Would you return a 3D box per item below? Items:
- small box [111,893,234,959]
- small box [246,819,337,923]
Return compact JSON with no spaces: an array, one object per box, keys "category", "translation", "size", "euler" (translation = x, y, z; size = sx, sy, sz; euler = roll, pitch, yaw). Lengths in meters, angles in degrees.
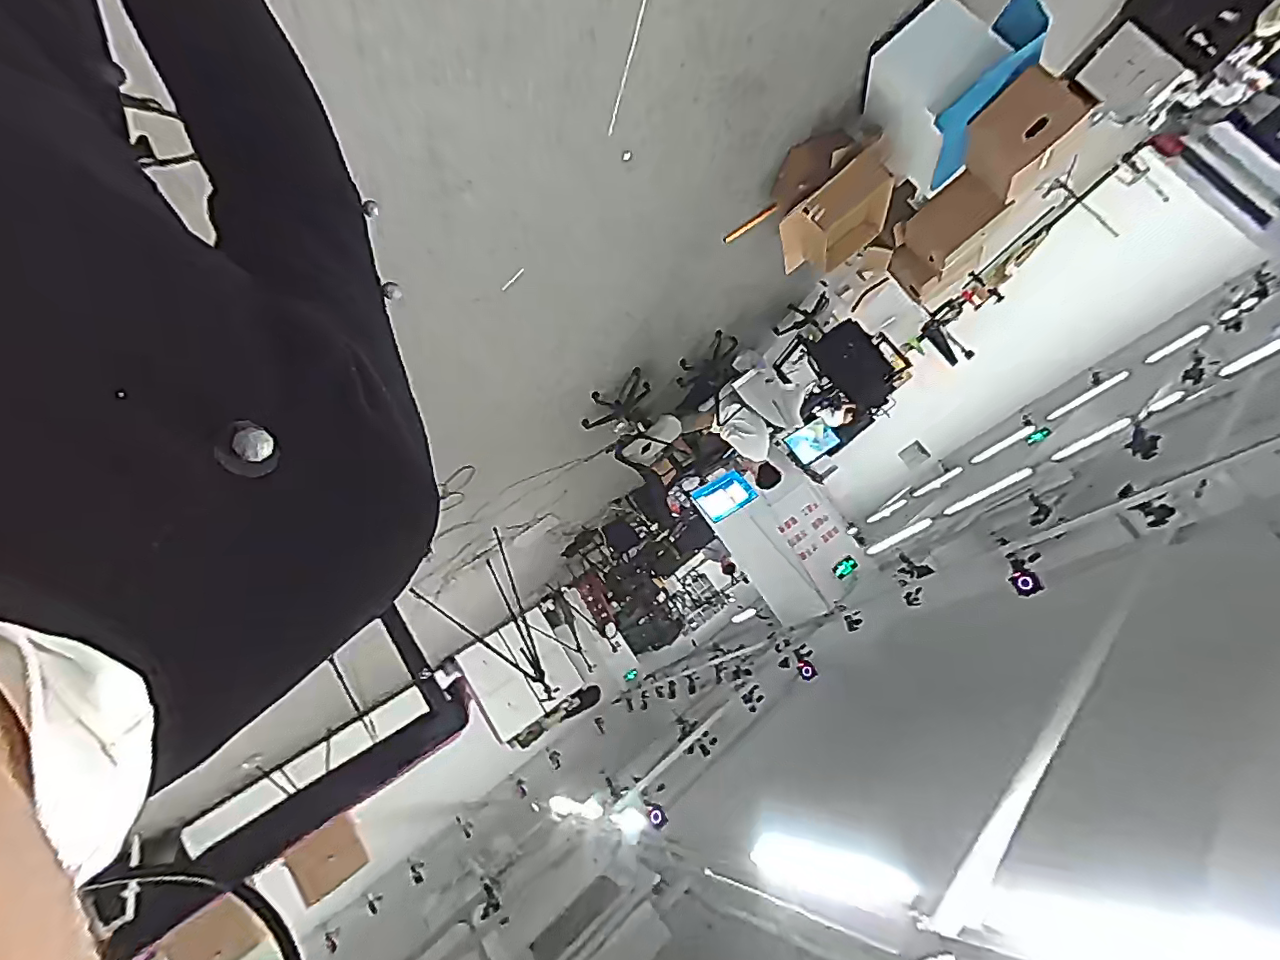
[{"category":"small box","translation":[-1.209,1.218,1.406],"size":[0.179,0.176,0.168],"euler":[-27,167,-33]},{"category":"small box","translation":[-1.005,1.117,1.561],"size":[0.179,0.176,0.168],"euler":[-27,168,-36]}]
